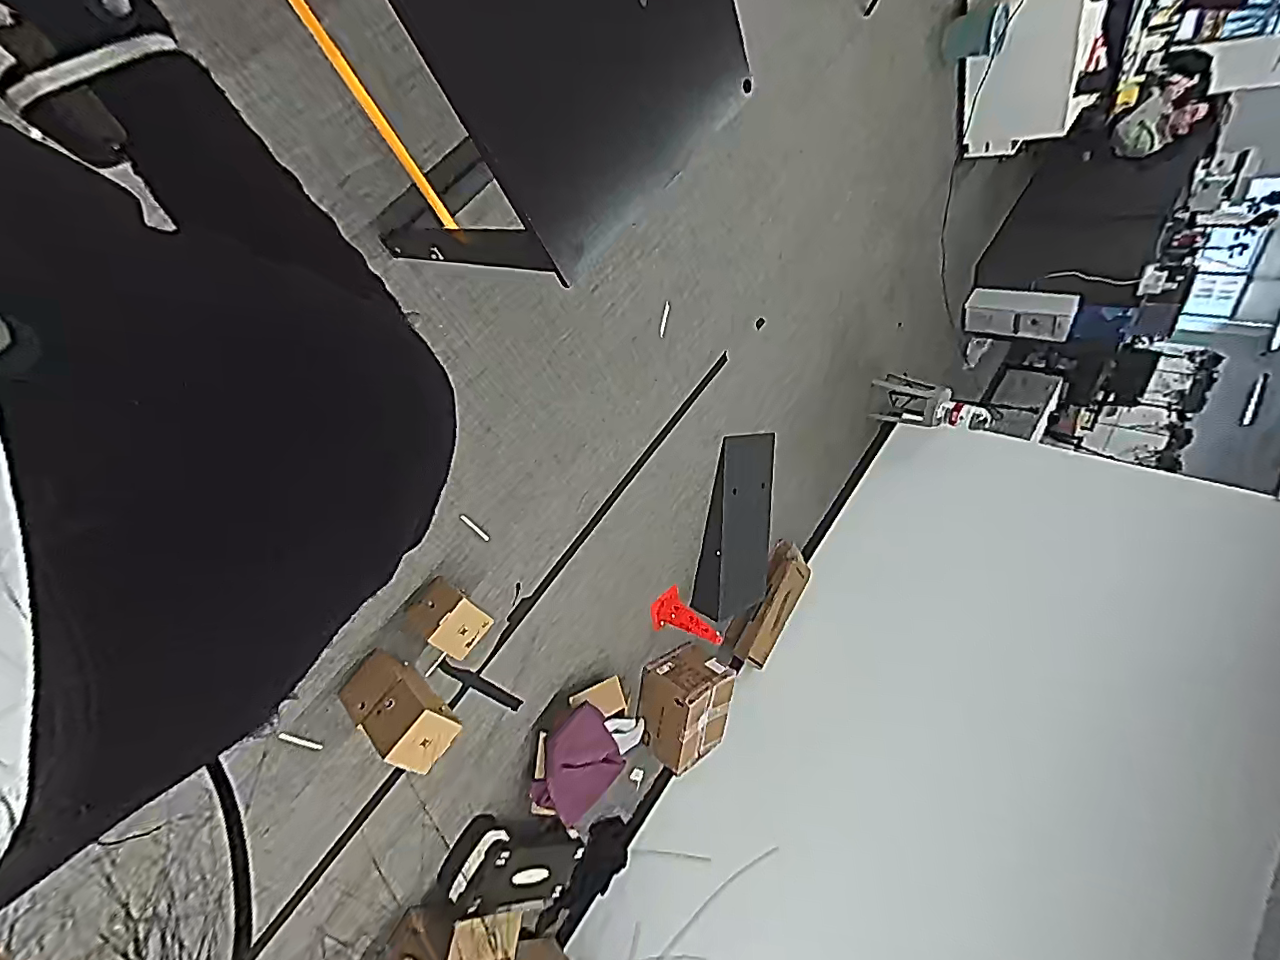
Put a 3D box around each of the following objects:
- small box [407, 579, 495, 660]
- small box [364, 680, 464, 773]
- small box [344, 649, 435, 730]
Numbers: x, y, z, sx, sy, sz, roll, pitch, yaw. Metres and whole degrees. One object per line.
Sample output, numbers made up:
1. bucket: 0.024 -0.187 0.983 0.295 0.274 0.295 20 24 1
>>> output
1. small box: -0.617 0.444 1.756 0.168 0.176 0.179 -50 137 -19
2. small box: -0.663 0.718 1.585 0.168 0.176 0.179 -51 137 -18
3. small box: -0.784 0.664 1.679 0.179 0.176 0.168 -52 139 -16
